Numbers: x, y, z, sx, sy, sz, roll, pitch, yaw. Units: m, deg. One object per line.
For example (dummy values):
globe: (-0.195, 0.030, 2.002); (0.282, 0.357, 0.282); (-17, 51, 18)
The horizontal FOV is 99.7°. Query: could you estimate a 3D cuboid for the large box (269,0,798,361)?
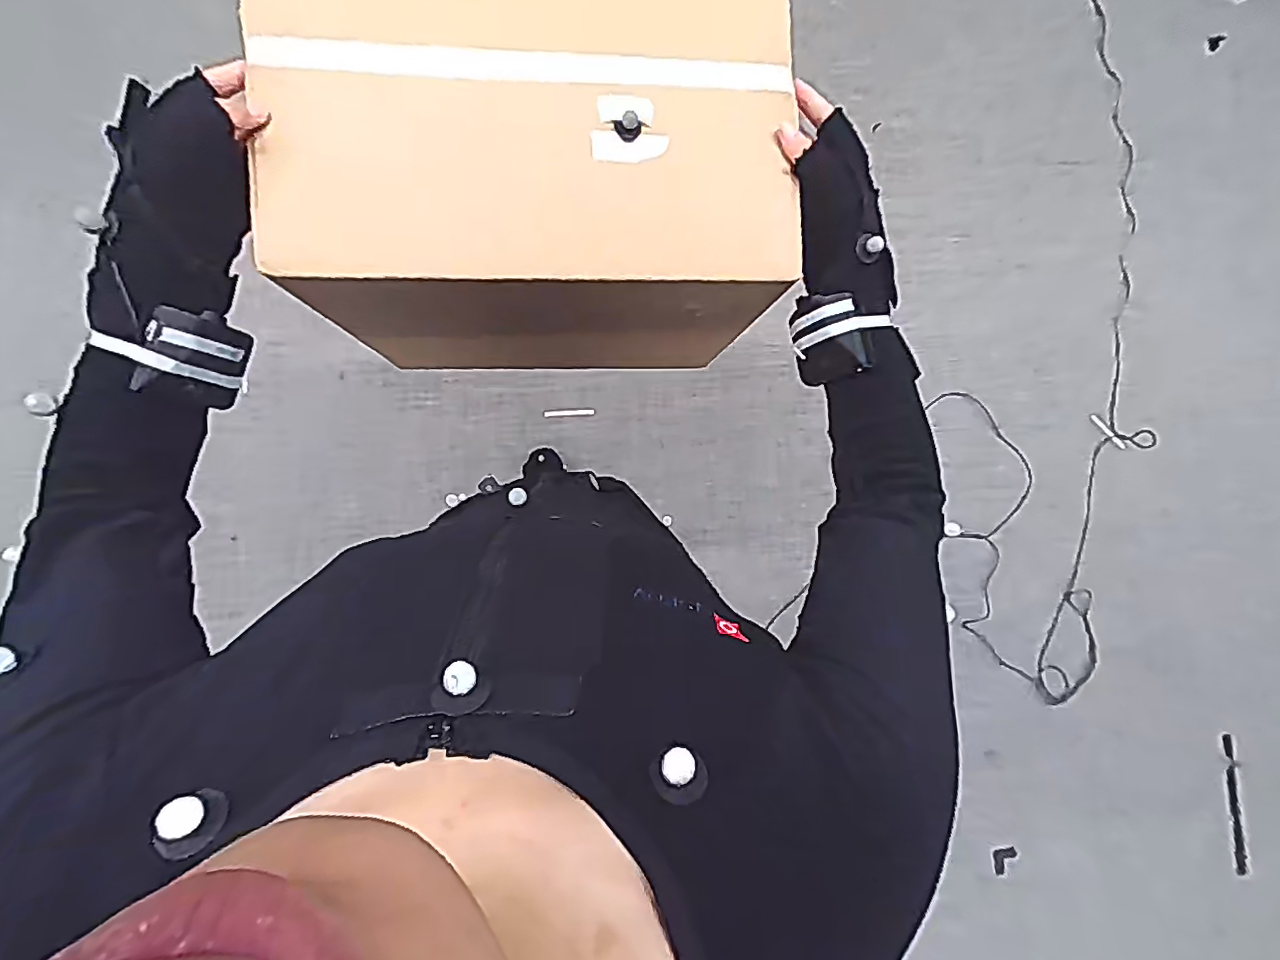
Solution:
large box: (-0.094, -0.317, 0.567); (0.408, 0.320, 0.320); (-3, 90, -8)
